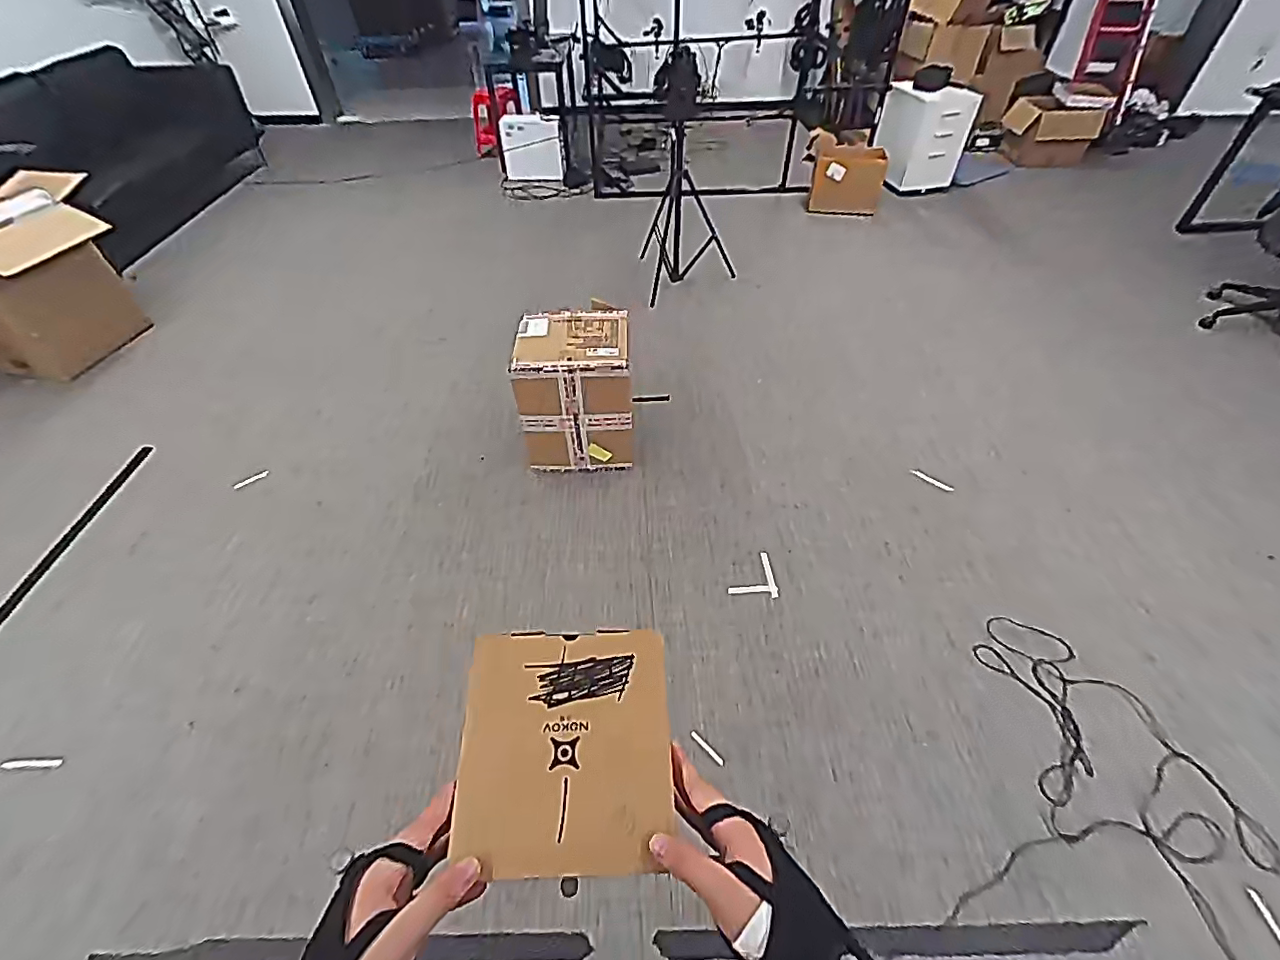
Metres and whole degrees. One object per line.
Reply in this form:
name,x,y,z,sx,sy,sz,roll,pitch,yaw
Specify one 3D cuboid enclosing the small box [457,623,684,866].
small box,-0.053,0.245,0.499,0.168,0.176,0.179,-2,56,-1
